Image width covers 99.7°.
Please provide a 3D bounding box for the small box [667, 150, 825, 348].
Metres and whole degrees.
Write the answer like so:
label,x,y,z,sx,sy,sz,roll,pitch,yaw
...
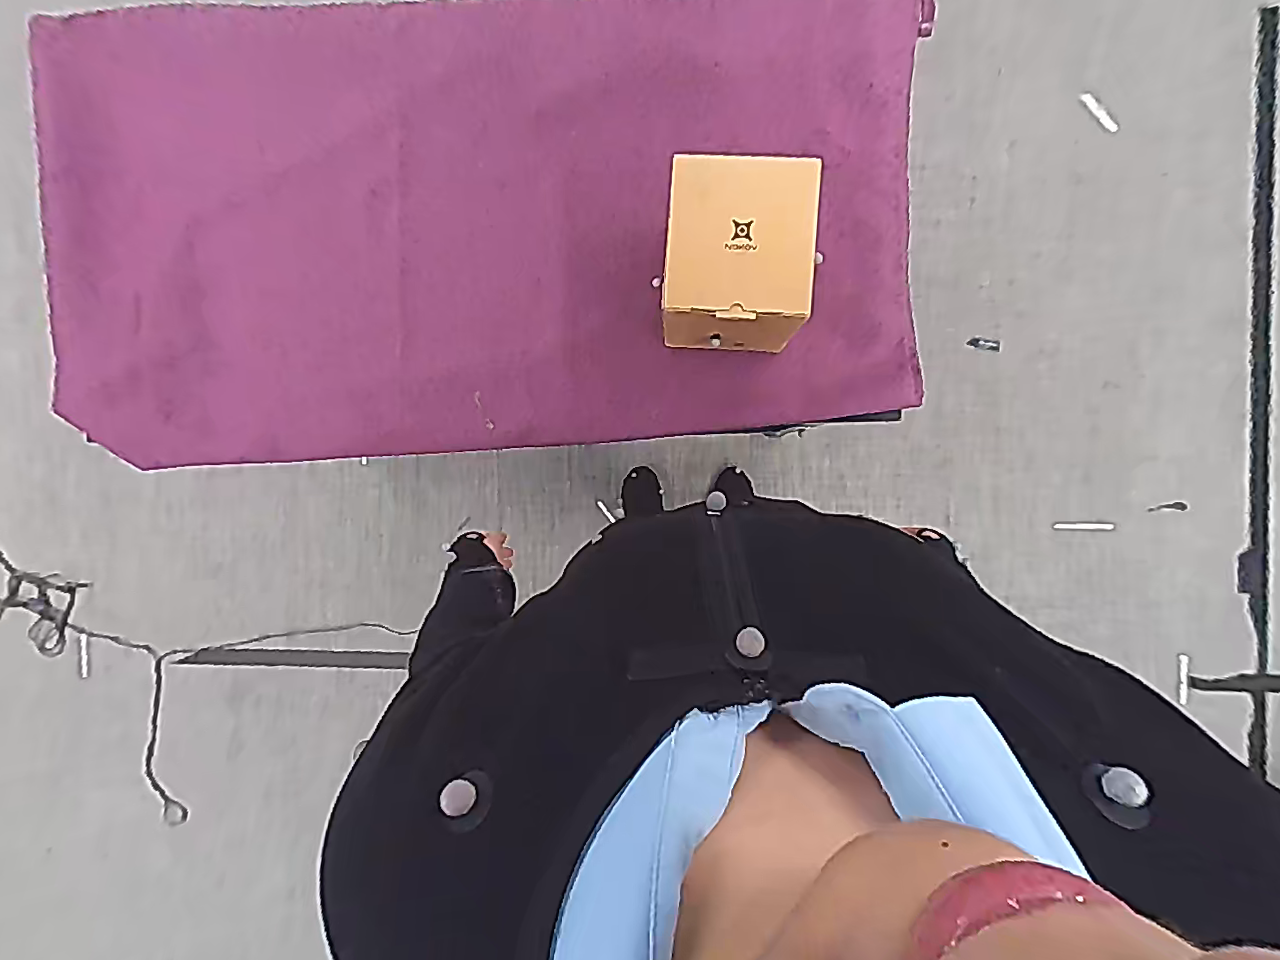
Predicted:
label,x,y,z,sx,sy,sz,roll,pitch,yaw
small box,0.121,-0.276,0.677,0.168,0.176,0.179,3,91,3
